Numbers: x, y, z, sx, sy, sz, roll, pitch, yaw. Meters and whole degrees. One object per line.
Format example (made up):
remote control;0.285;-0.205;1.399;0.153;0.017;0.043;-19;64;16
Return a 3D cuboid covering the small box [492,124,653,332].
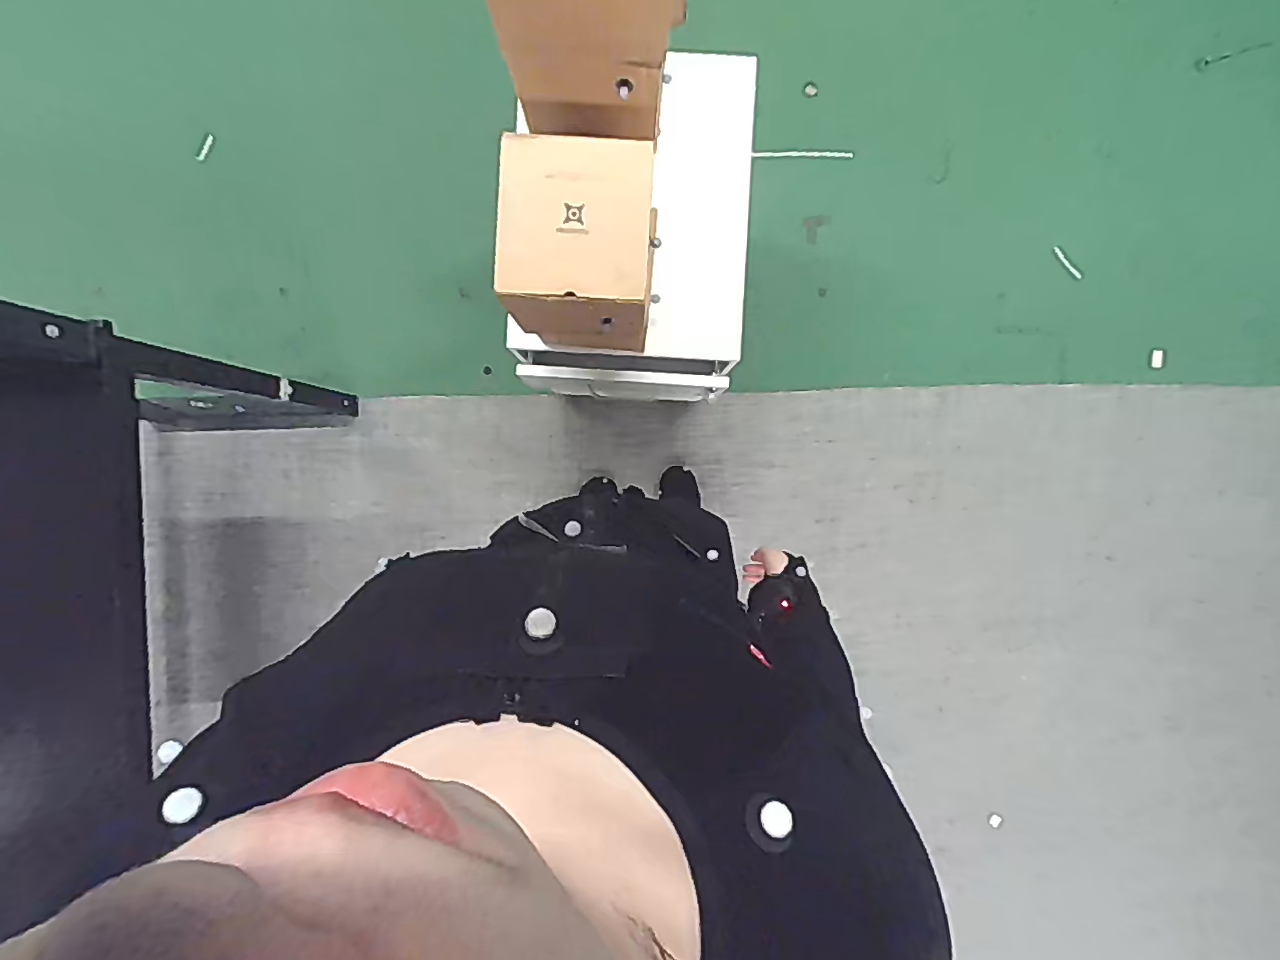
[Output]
small box;-0.073;-0.284;0.649;0.168;0.176;0.179;2;91;-2

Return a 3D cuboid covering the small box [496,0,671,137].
small box;-0.057;-0.535;0.642;0.179;0.176;0.168;6;92;-2

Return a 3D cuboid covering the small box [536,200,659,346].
small box;-0.070;-0.306;0.809;0.179;0.176;0.168;6;90;-2

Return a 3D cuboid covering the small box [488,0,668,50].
small box;-0.059;-0.524;0.478;0.179;0.176;0.168;-1;93;-2
